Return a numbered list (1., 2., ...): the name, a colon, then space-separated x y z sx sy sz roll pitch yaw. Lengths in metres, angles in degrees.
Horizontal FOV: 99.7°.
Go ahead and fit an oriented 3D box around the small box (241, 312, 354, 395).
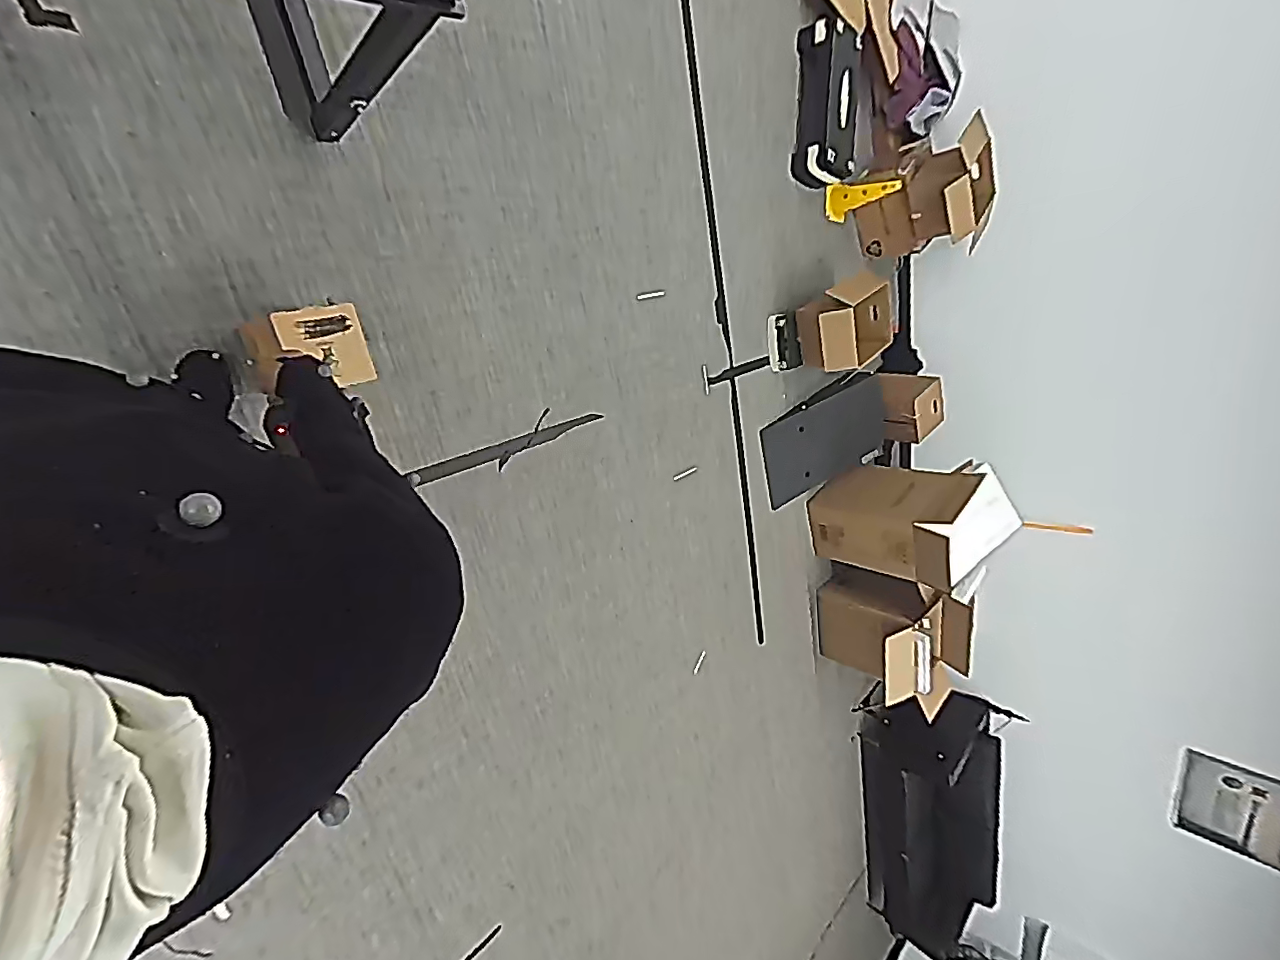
1. small box: -0.847 -0.314 1.336 0.179 0.176 0.168 -27 115 -36
